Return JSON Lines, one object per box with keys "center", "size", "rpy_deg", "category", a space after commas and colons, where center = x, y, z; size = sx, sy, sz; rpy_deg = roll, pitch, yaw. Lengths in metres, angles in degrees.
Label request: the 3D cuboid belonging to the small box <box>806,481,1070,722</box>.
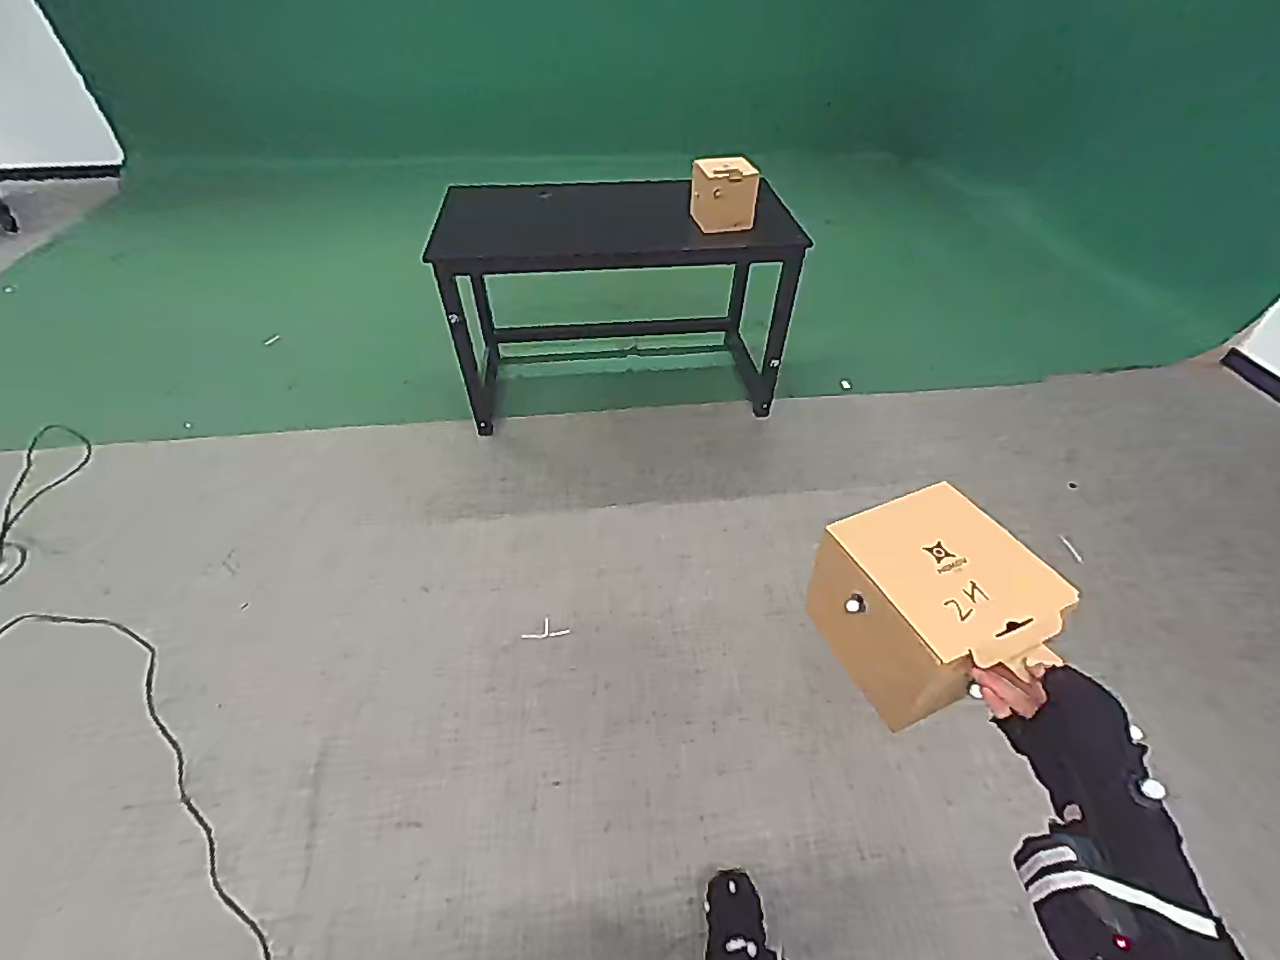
{"center": [0.310, 0.135, 0.610], "size": [0.168, 0.176, 0.179], "rpy_deg": [-19, 47, -13], "category": "small box"}
